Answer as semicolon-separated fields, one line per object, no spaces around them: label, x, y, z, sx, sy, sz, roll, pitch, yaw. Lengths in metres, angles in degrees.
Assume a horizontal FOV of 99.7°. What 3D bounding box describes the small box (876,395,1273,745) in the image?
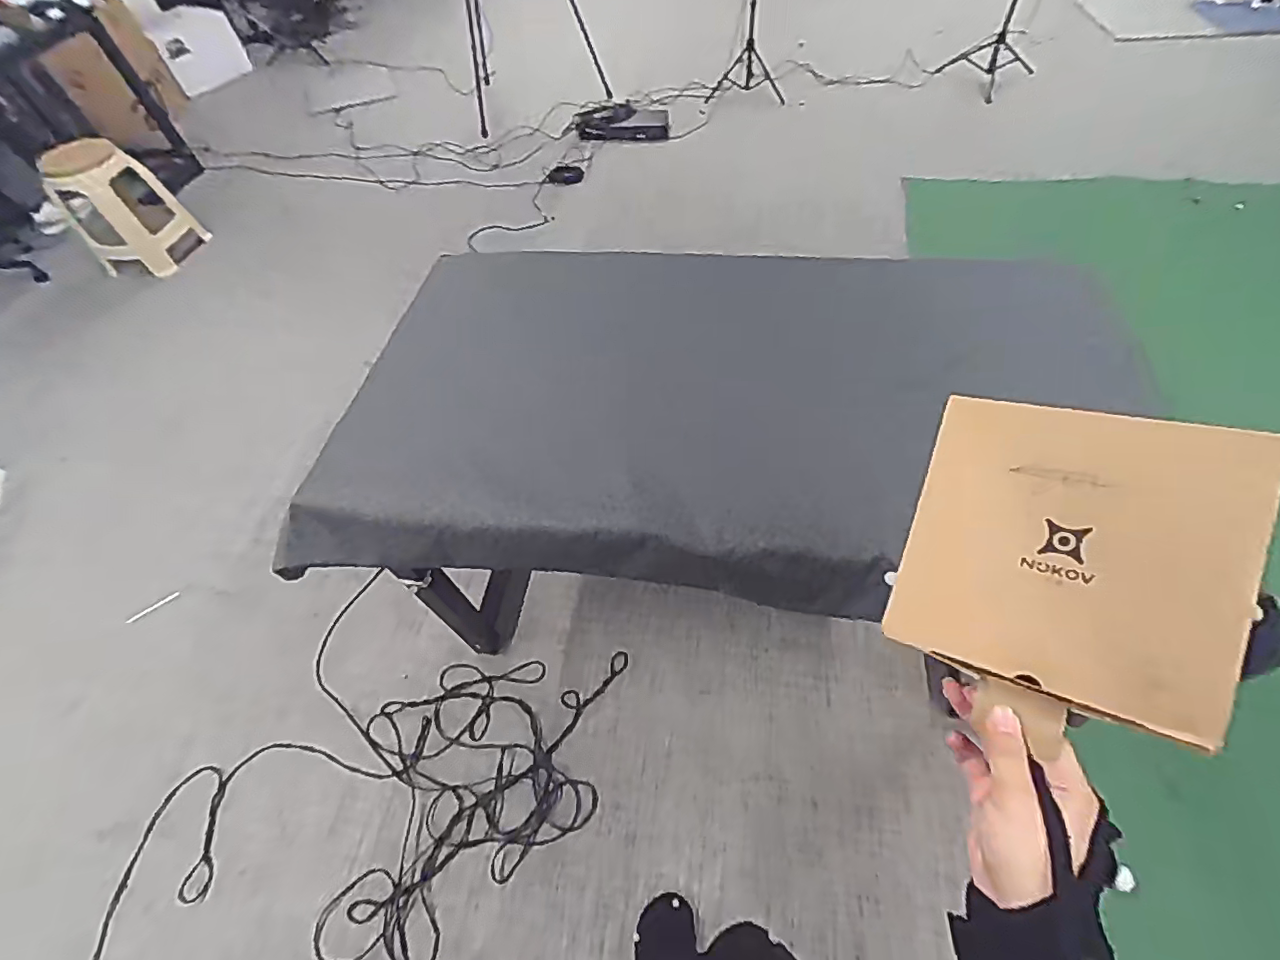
small box;0.290;0.060;0.394;0.168;0.176;0.179;15;82;33
